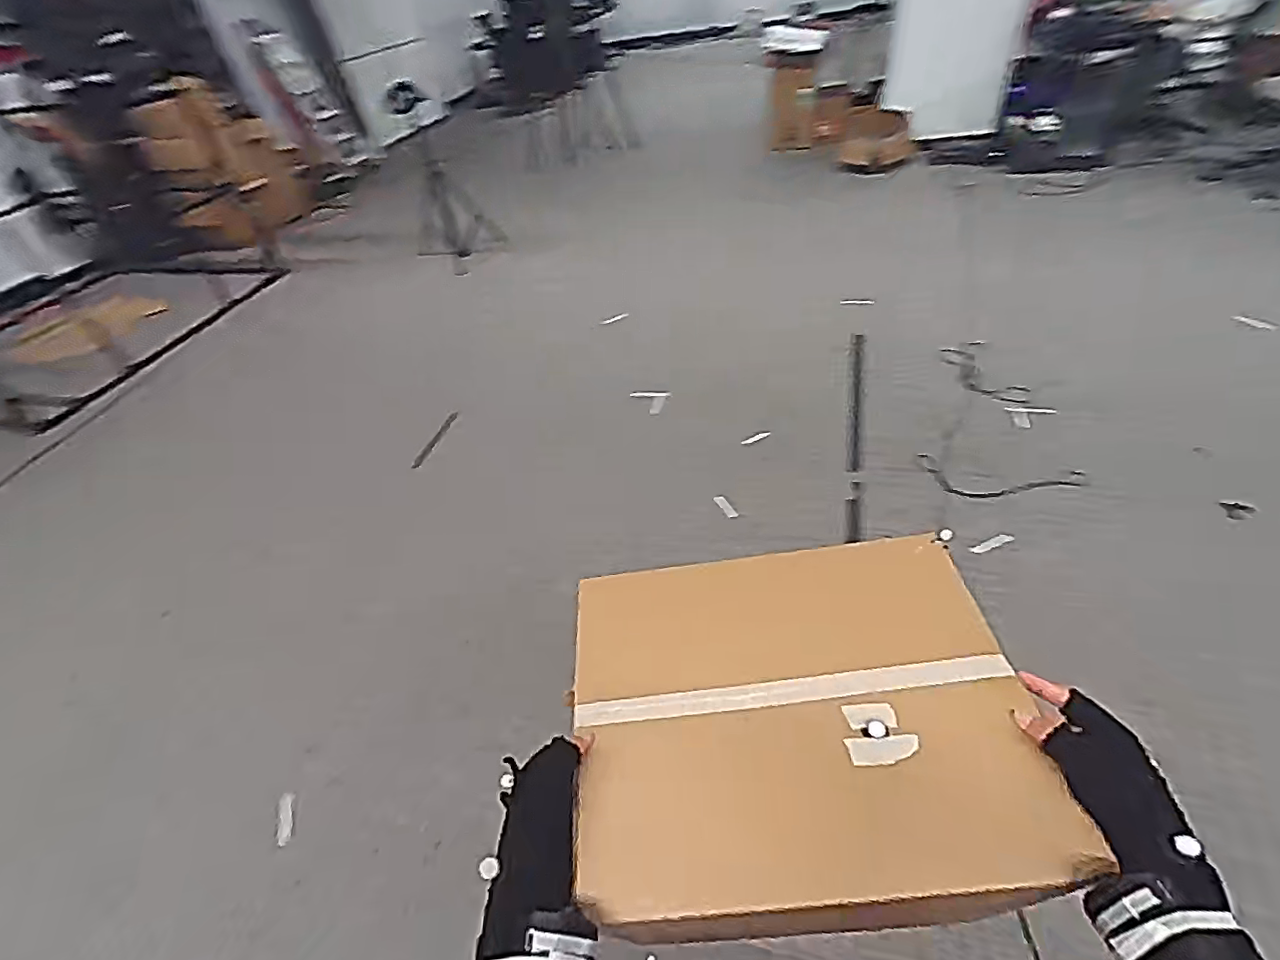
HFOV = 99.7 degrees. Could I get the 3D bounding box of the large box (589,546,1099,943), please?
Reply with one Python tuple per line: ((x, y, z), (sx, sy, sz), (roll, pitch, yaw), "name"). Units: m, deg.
((0.166, 0.312, 0.628), (0.408, 0.320, 0.320), (-7, 47, 4), "large box")
